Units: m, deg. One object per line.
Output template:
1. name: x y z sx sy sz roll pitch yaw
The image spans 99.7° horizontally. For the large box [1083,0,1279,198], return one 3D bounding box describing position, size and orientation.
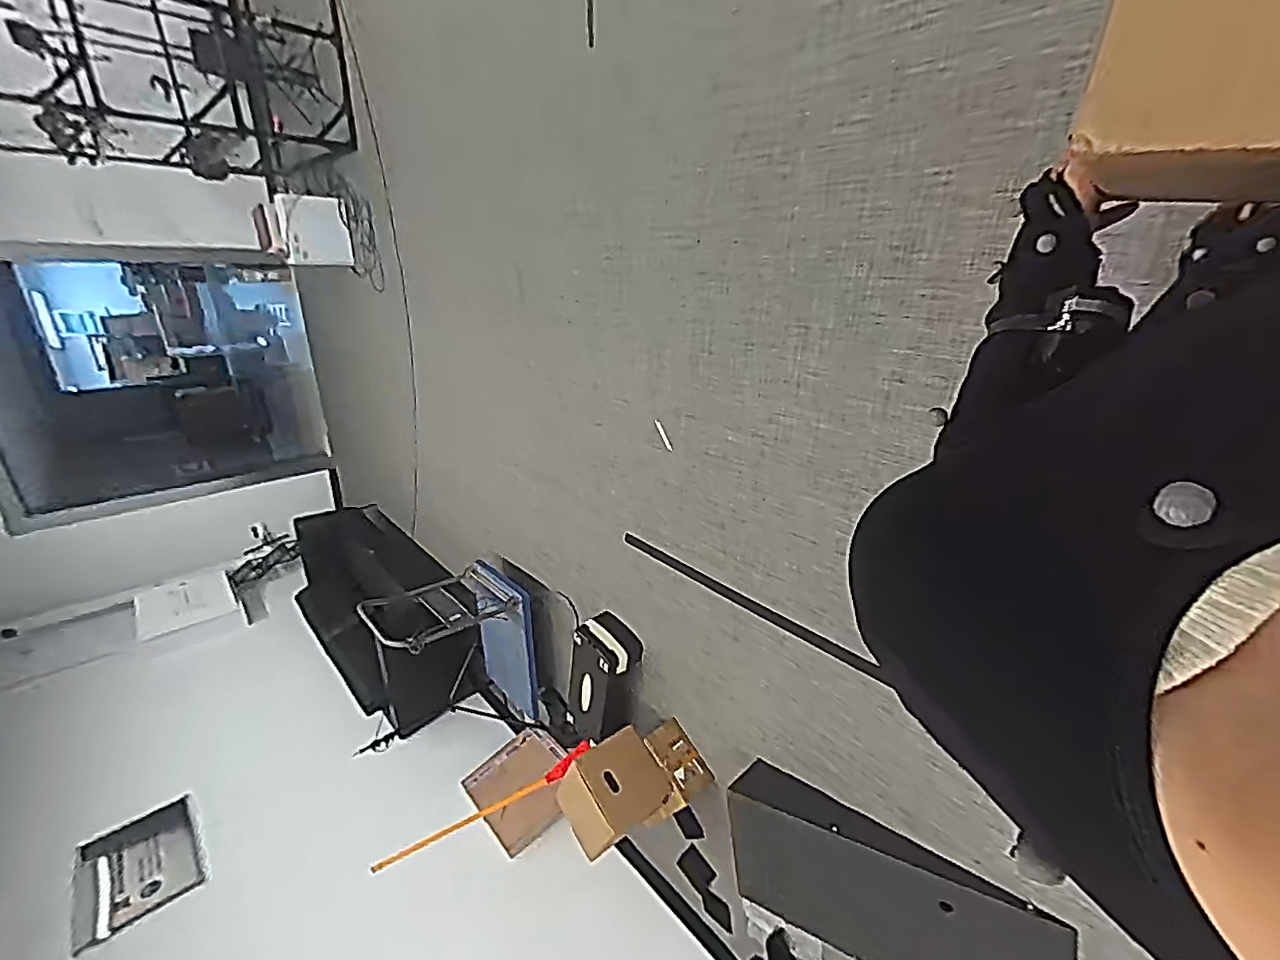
1. large box: 0.459 -0.288 0.189 0.408 0.320 0.320 21 121 35
